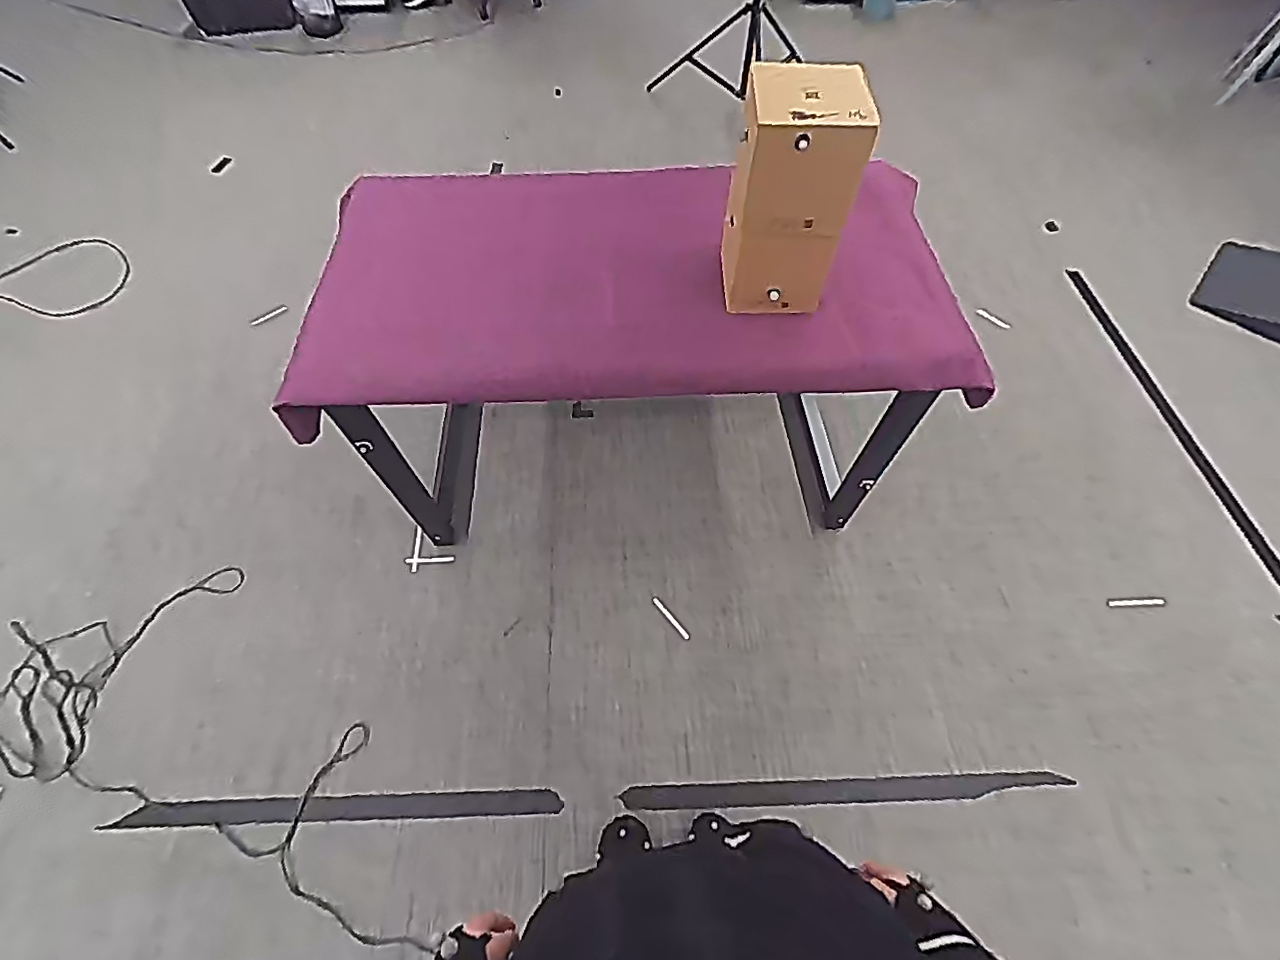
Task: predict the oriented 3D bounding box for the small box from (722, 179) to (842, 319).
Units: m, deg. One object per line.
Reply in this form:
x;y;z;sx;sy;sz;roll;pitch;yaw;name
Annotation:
0.244;-0.417;0.979;0.168;0.176;0.179;0;60;1;small box

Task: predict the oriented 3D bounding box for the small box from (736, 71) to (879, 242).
0.244;-0.496;0.836;0.168;0.176;0.179;2;58;2;small box
